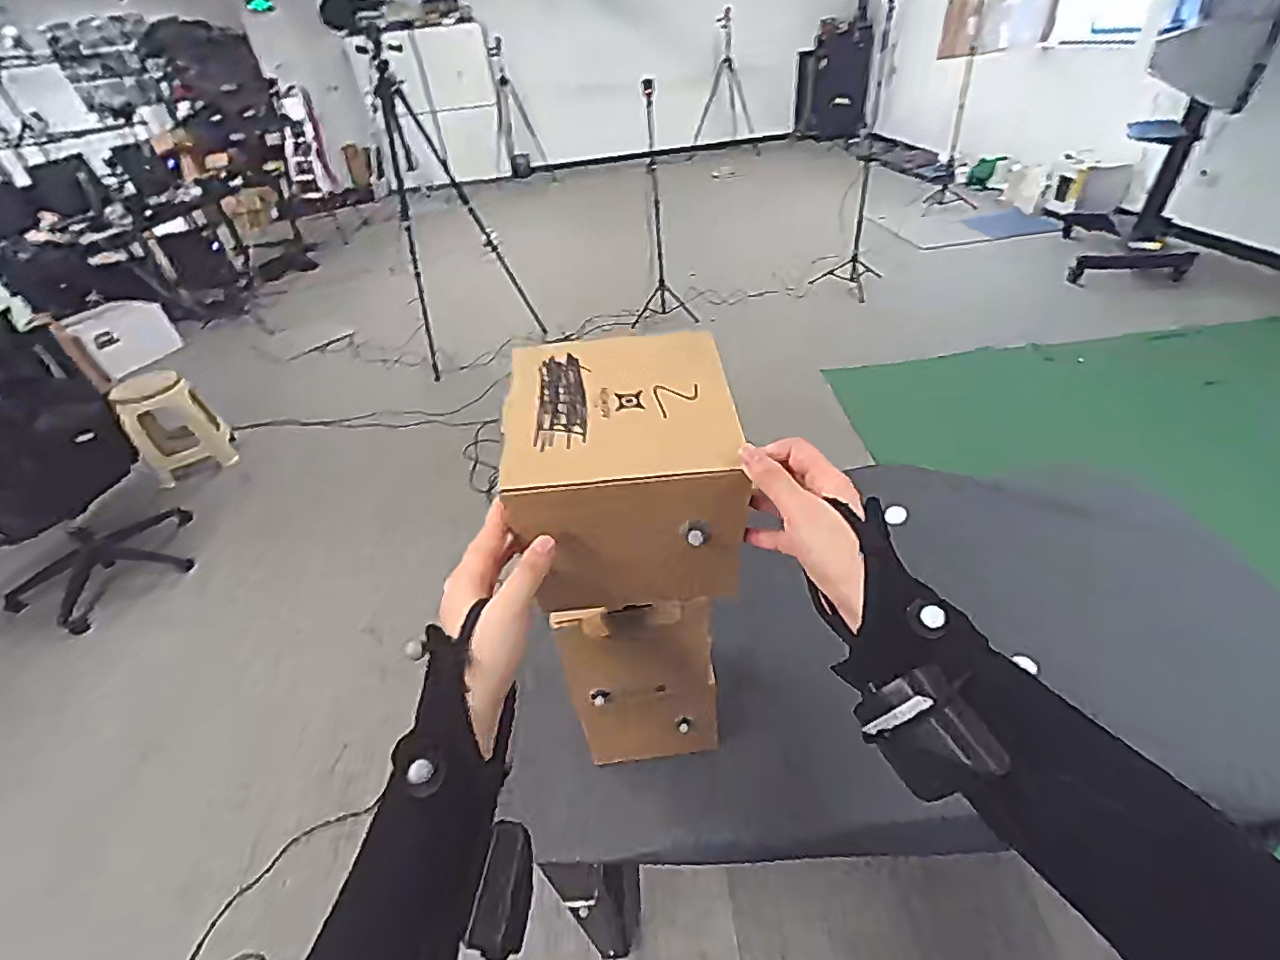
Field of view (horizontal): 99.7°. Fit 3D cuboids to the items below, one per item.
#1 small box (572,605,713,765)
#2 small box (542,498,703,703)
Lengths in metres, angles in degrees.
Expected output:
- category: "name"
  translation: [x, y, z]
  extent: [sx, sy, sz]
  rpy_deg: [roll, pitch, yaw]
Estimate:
- category: "small box"
  translation: [0.005, 0.278, 0.769]
  extent: [0.179, 0.176, 0.168]
  rpy_deg: [-9, 37, 0]
- category: "small box"
  translation: [-0.022, 0.151, 0.666]
  extent: [0.168, 0.176, 0.179]
  rpy_deg: [-10, 36, -4]
